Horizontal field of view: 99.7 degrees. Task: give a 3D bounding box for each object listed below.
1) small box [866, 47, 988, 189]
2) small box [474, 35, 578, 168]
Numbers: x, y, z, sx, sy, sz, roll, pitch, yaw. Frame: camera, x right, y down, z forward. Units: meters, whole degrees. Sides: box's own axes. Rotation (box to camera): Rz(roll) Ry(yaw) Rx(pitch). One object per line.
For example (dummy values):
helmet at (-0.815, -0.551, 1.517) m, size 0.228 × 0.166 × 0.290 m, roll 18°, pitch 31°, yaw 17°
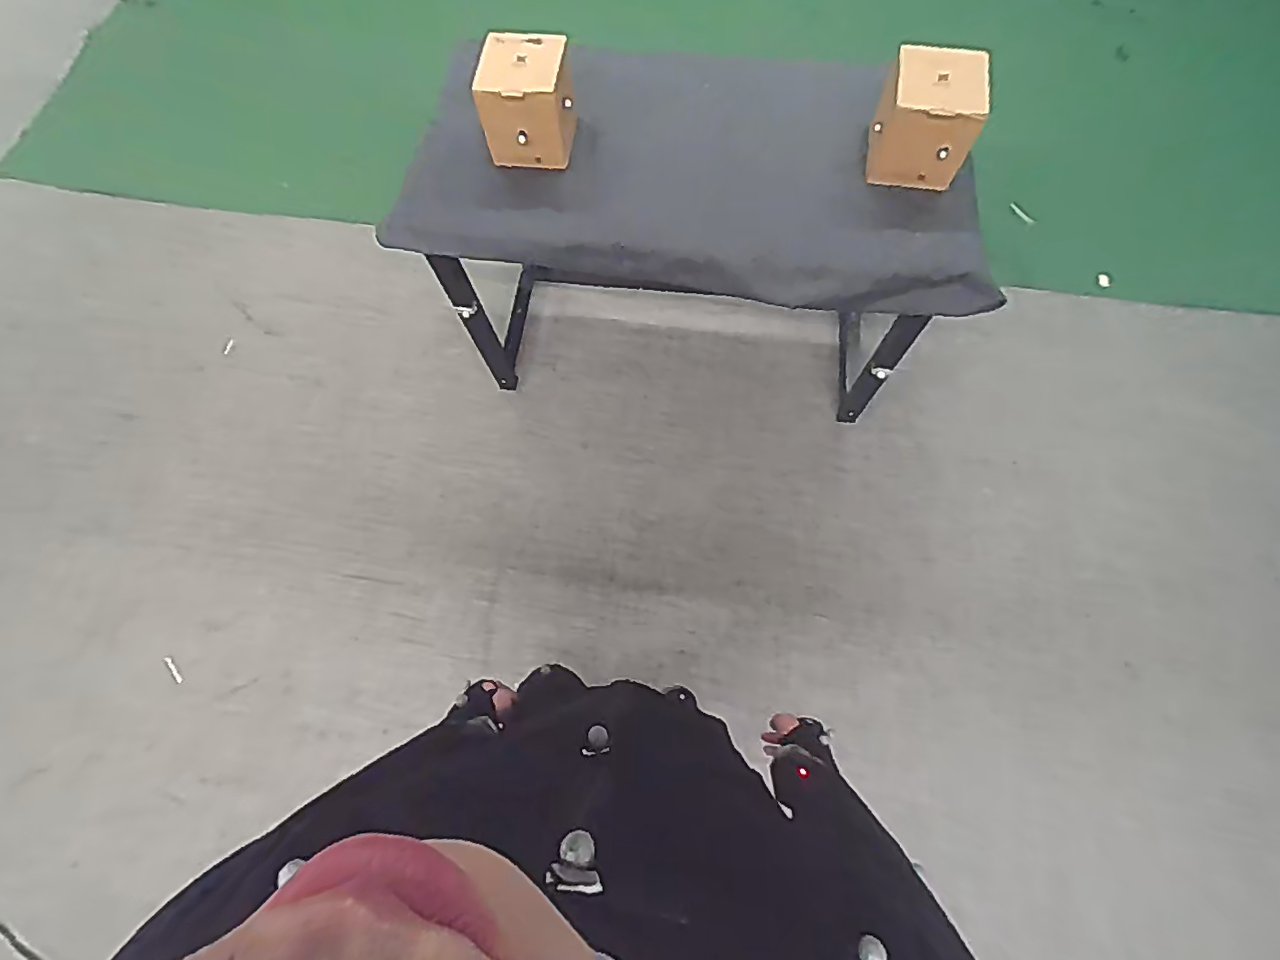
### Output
small box at (0.570, -0.722, 1.090) m, size 0.168 × 0.176 × 0.179 m, roll 10°, pitch 70°, yaw 5°
small box at (-0.232, -0.800, 1.152) m, size 0.168 × 0.176 × 0.179 m, roll 5°, pitch 71°, yaw 4°
